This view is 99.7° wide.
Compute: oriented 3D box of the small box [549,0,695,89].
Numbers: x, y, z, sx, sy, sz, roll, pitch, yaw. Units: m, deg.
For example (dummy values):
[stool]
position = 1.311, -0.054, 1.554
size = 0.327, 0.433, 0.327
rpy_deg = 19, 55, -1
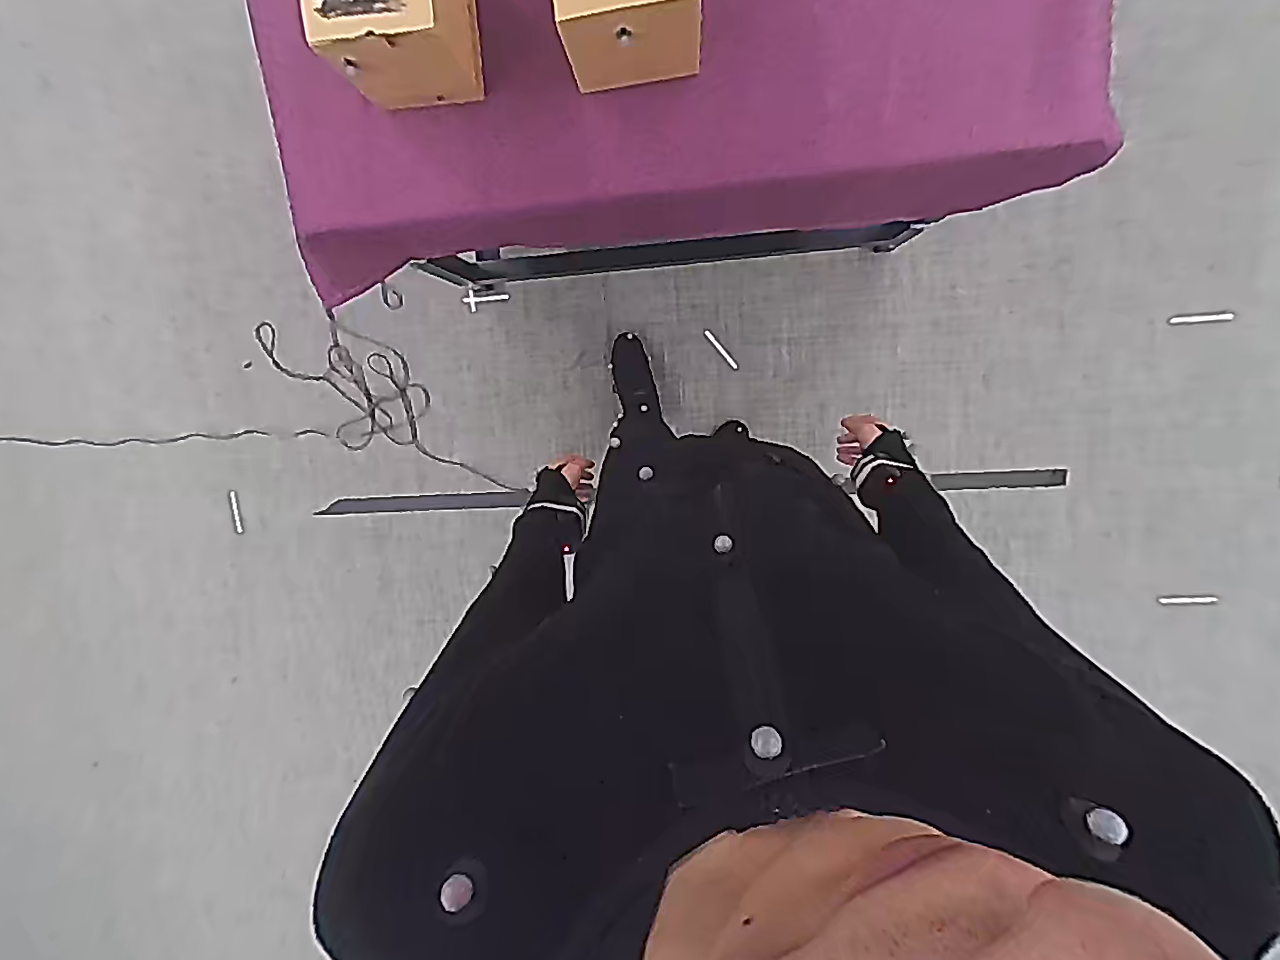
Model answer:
[small box]
position = -0.022, -0.644, 0.700
size = 0.179, 0.176, 0.168
rpy_deg = -6, 100, 5
